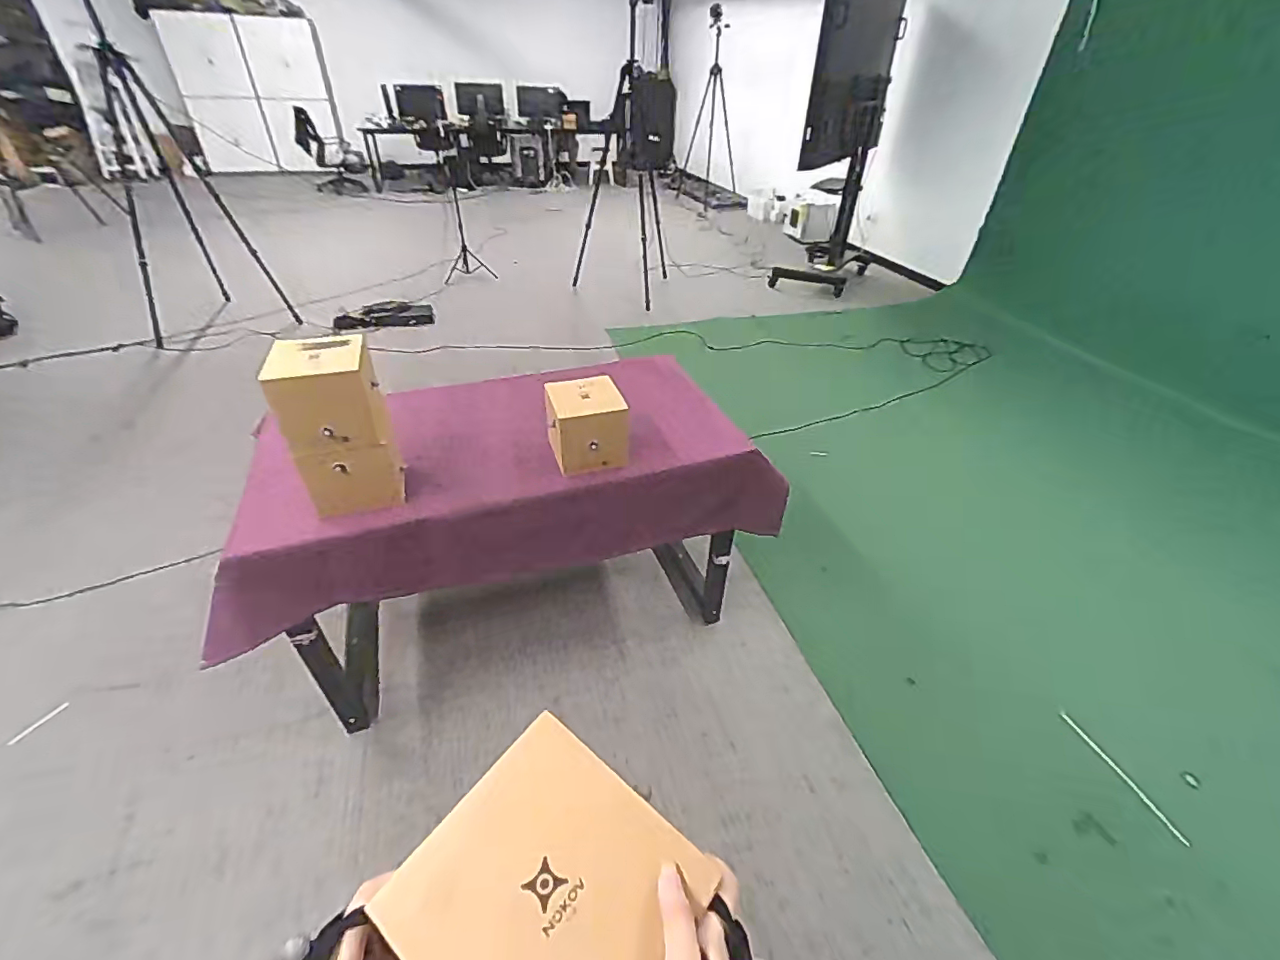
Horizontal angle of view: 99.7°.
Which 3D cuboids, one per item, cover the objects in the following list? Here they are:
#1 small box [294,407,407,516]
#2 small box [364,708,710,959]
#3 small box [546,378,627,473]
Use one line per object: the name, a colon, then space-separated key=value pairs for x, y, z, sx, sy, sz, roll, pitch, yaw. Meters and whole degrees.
small box: x=-0.629 y=-0.040 z=1.195 sx=0.179 sy=0.176 sz=0.168 roll=-10 pitch=39 yaw=-16
small box: x=-0.073 y=0.325 z=0.422 sx=0.179 sy=0.176 sz=0.168 roll=33 pitch=53 yaw=23
small box: x=-0.132 y=-0.129 z=1.335 sx=0.168 sy=0.176 sz=0.179 roll=-10 pitch=39 yaw=-16
